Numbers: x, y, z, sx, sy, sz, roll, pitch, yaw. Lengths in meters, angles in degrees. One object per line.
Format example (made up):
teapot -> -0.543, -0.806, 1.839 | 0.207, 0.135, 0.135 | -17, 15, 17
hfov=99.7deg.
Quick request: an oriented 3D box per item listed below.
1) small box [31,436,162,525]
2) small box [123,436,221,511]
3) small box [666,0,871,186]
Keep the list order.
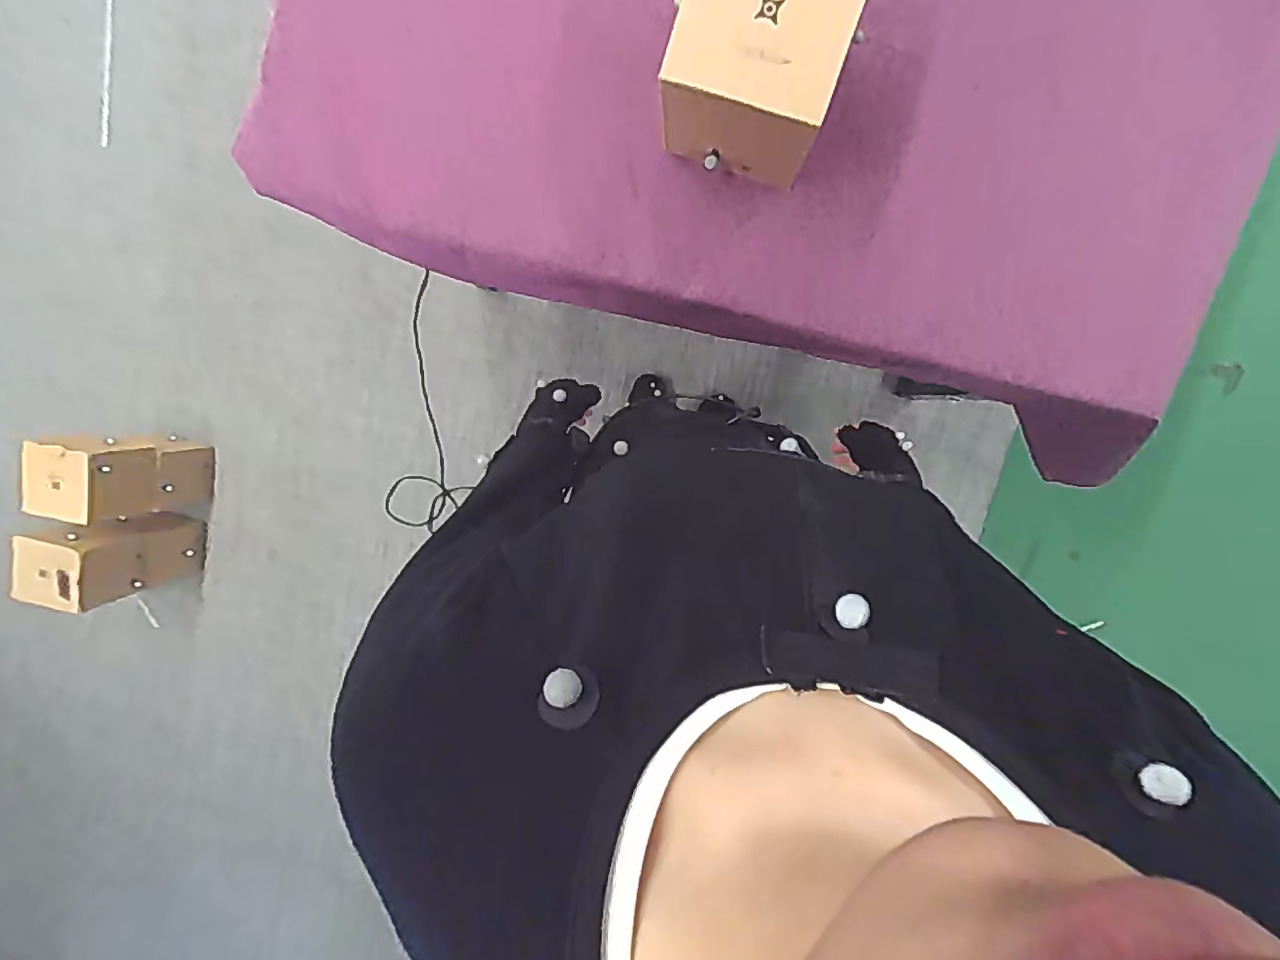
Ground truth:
small box -> -1.335, -0.005, 1.338 | 0.168, 0.176, 0.179 | 10, 99, 2
small box -> -1.319, -0.024, 1.500 | 0.179, 0.176, 0.168 | 12, 100, 3
small box -> 0.132, -0.454, 0.577 | 0.168, 0.176, 0.179 | 19, 101, 2
